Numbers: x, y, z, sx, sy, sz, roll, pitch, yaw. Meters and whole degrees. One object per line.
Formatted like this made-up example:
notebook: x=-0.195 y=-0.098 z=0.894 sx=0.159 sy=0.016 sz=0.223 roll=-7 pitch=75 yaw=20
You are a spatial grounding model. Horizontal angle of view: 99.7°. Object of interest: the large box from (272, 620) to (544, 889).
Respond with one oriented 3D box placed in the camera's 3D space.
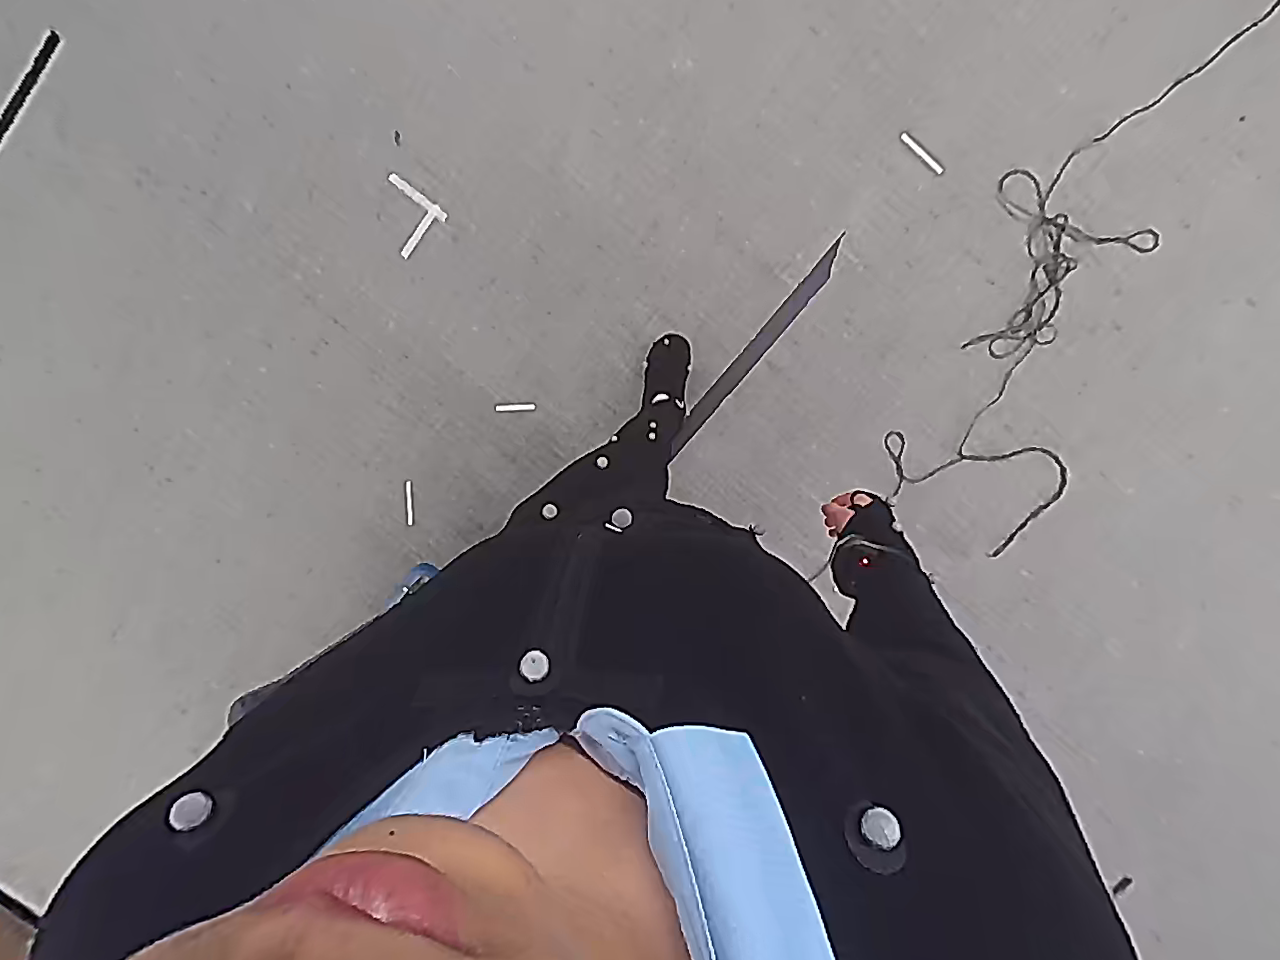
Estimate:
large box: x=-0.484 y=0.585 z=1.216 sx=0.408 sy=0.320 sz=0.320 roll=31 pitch=94 yaw=-2
